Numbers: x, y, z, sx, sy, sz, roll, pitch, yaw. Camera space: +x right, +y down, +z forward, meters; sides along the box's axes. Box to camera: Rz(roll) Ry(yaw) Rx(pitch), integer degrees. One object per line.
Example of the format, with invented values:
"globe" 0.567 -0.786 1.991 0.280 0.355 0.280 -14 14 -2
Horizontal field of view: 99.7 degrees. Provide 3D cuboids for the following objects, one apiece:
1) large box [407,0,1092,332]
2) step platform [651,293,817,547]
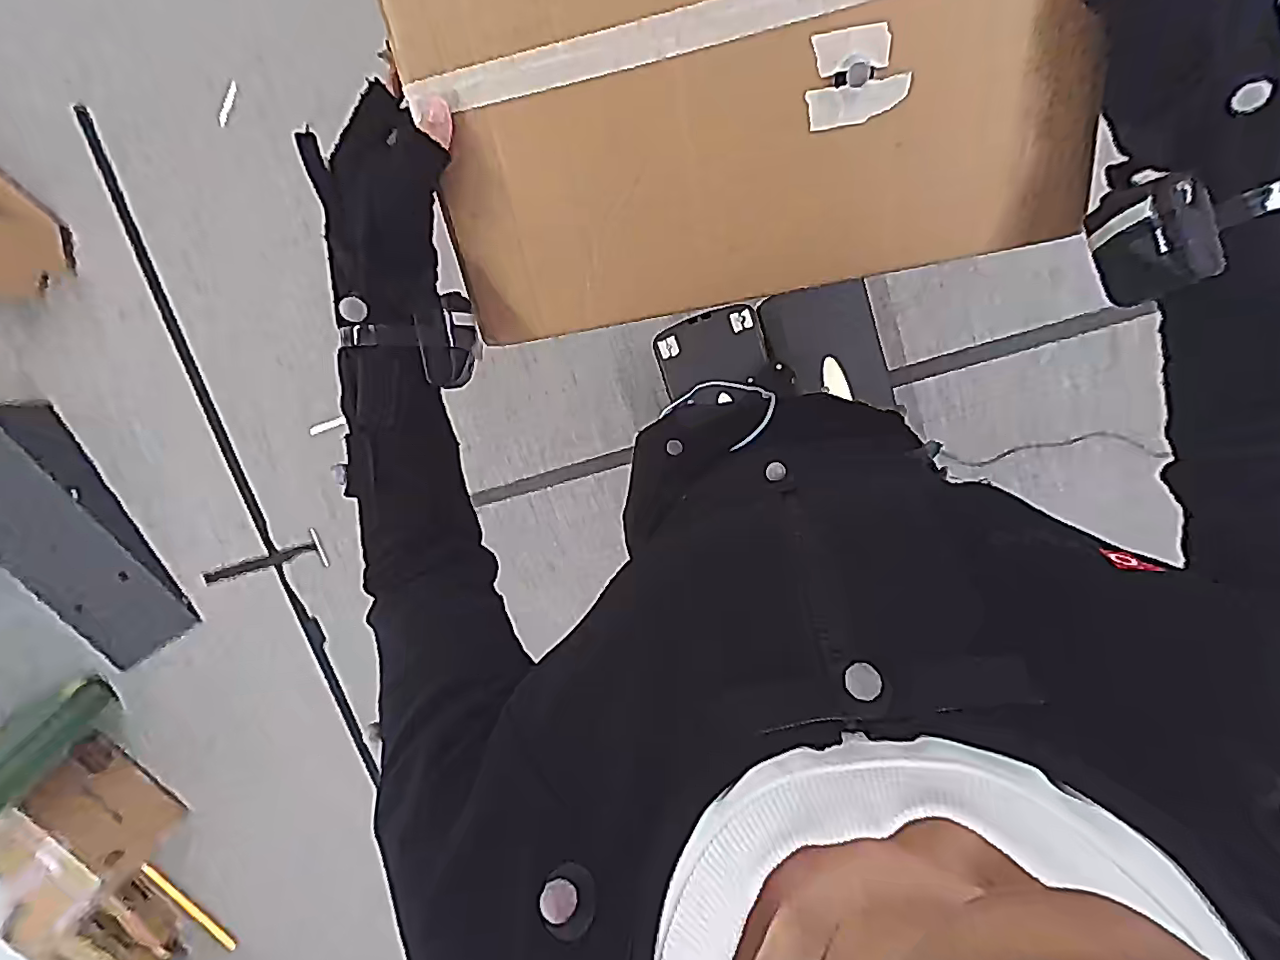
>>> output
"large box" 0.068 -0.338 0.462 0.408 0.320 0.320 -8 113 8
"step platform" 0.263 -0.157 1.508 0.286 0.204 0.684 -18 96 13
